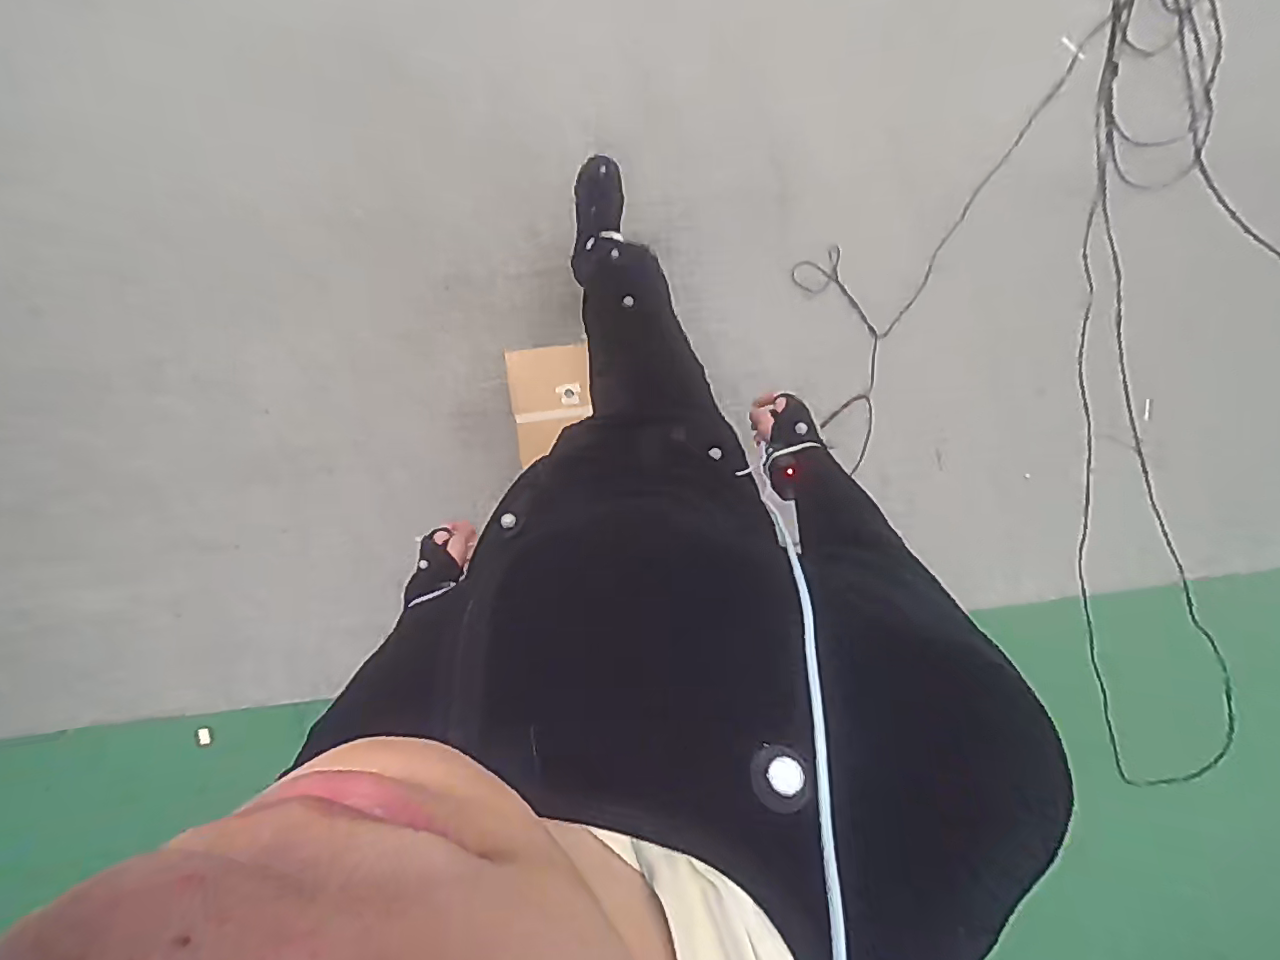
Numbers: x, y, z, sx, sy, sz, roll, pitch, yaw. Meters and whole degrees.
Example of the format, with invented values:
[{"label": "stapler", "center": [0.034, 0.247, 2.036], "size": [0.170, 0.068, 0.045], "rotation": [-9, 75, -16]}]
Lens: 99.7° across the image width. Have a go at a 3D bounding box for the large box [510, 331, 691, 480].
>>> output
[{"label": "large box", "center": [-0.099, -0.201, 1.440], "size": [0.408, 0.320, 0.320], "rotation": [-8, 99, -3]}]
